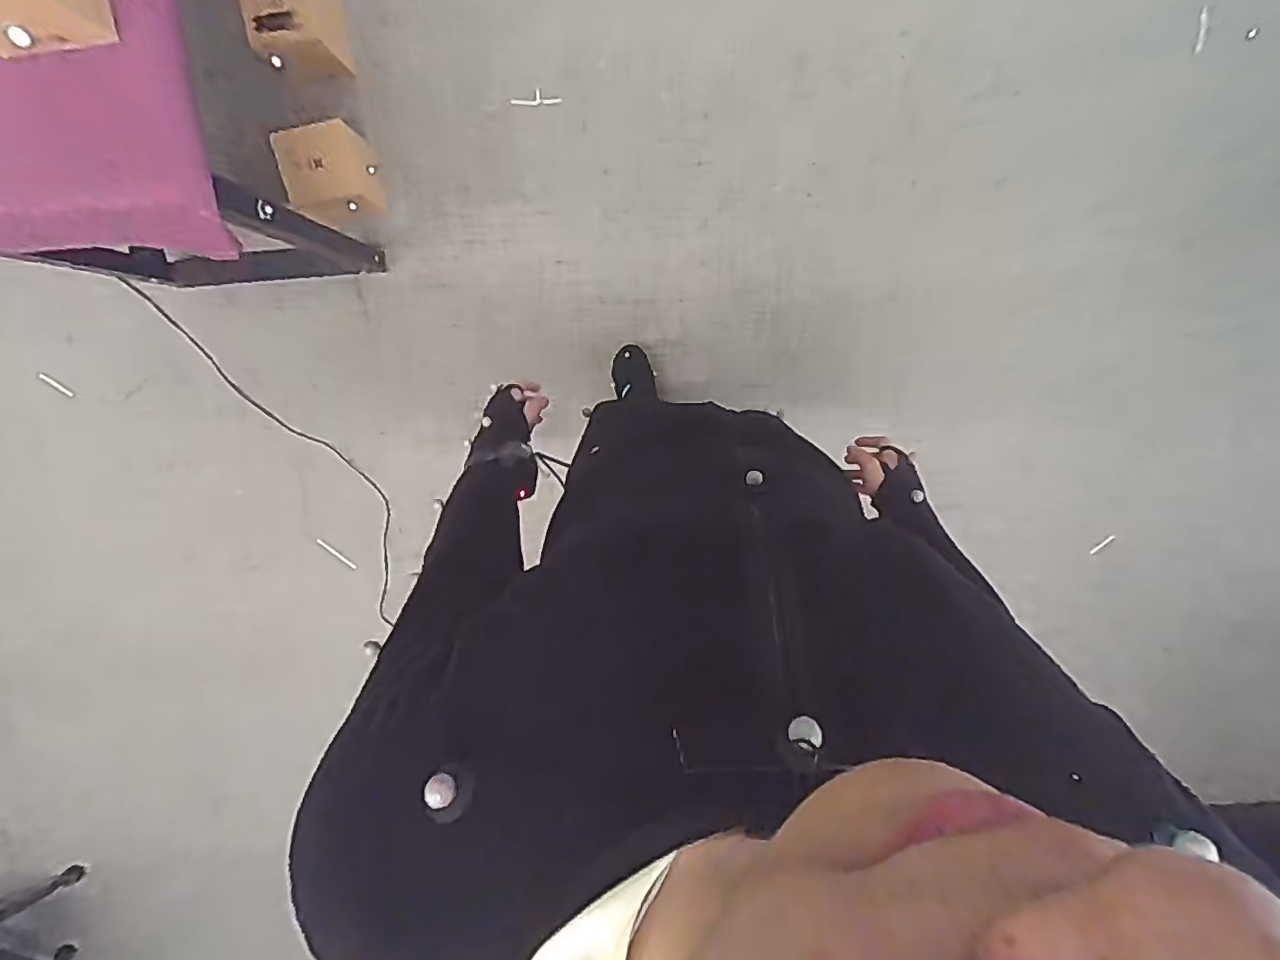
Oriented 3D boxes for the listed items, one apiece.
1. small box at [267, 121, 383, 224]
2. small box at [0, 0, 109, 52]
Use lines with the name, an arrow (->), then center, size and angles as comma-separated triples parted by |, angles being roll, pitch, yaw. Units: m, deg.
small box -> -0.767, -0.756, 1.344 | 0.179, 0.176, 0.168 | -12, 102, 1
small box -> -0.788, -0.644, 0.623 | 0.168, 0.176, 0.179 | -6, 103, 1
